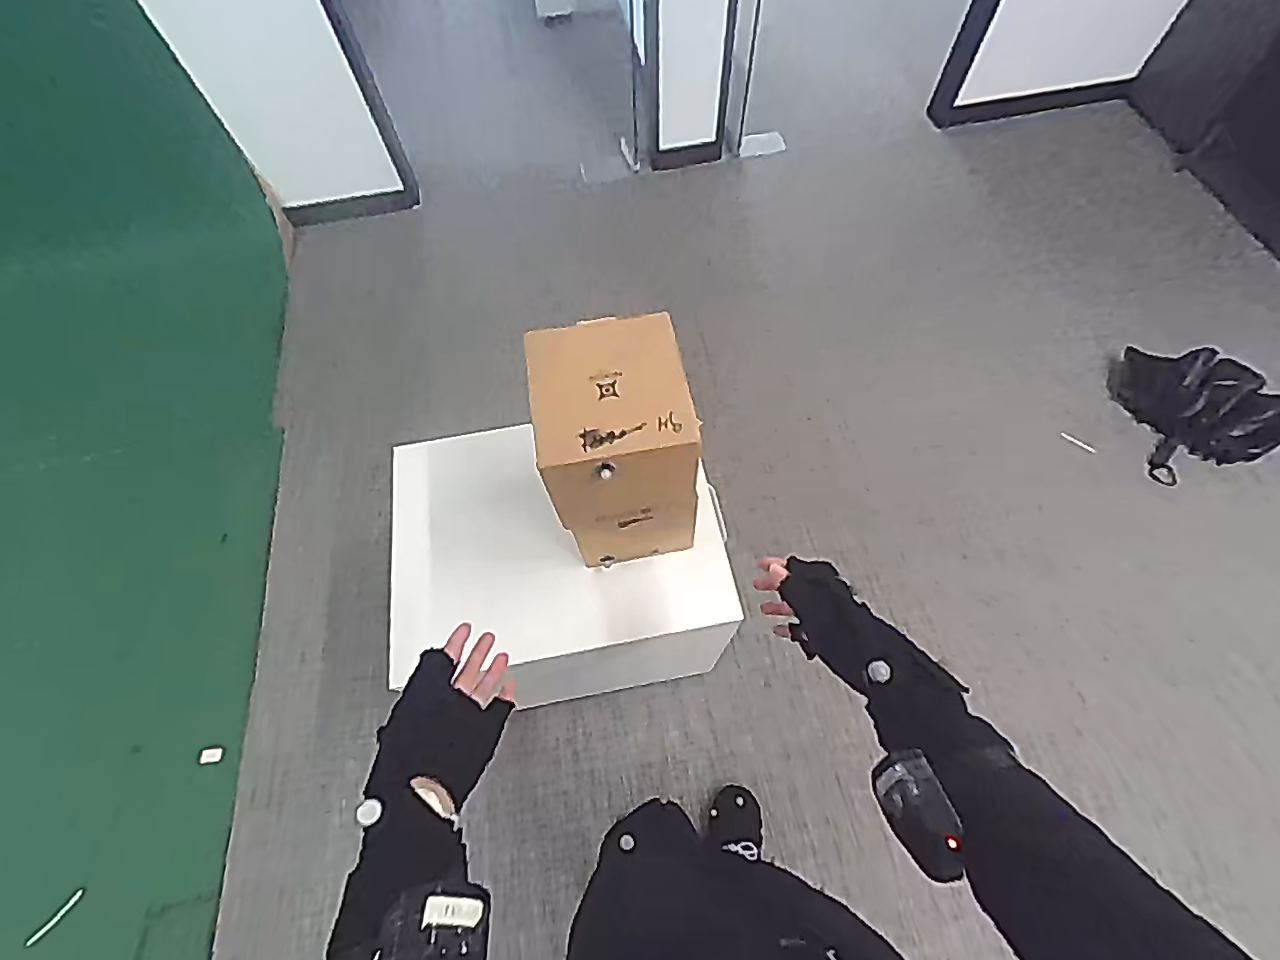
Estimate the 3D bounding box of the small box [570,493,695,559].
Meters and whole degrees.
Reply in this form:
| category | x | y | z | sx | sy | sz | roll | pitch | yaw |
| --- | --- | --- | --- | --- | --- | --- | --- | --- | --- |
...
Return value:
| category | x | y | z | sx | sy | sz | roll | pitch | yaw |
| --- | --- | --- | --- | --- | --- | --- | --- | --- | --- |
| small box | -0.018 | 0.005 | 0.788 | 0.168 | 0.176 | 0.179 | -11 | 63 | -2 |

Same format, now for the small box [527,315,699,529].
| category | x | y | z | sx | sy | sz | roll | pitch | yaw |
| --- | --- | --- | --- | --- | --- | --- | --- | --- | --- |
| small box | -0.031 | -0.063 | 0.640 | 0.168 | 0.176 | 0.179 | -10 | 63 | -2 |
